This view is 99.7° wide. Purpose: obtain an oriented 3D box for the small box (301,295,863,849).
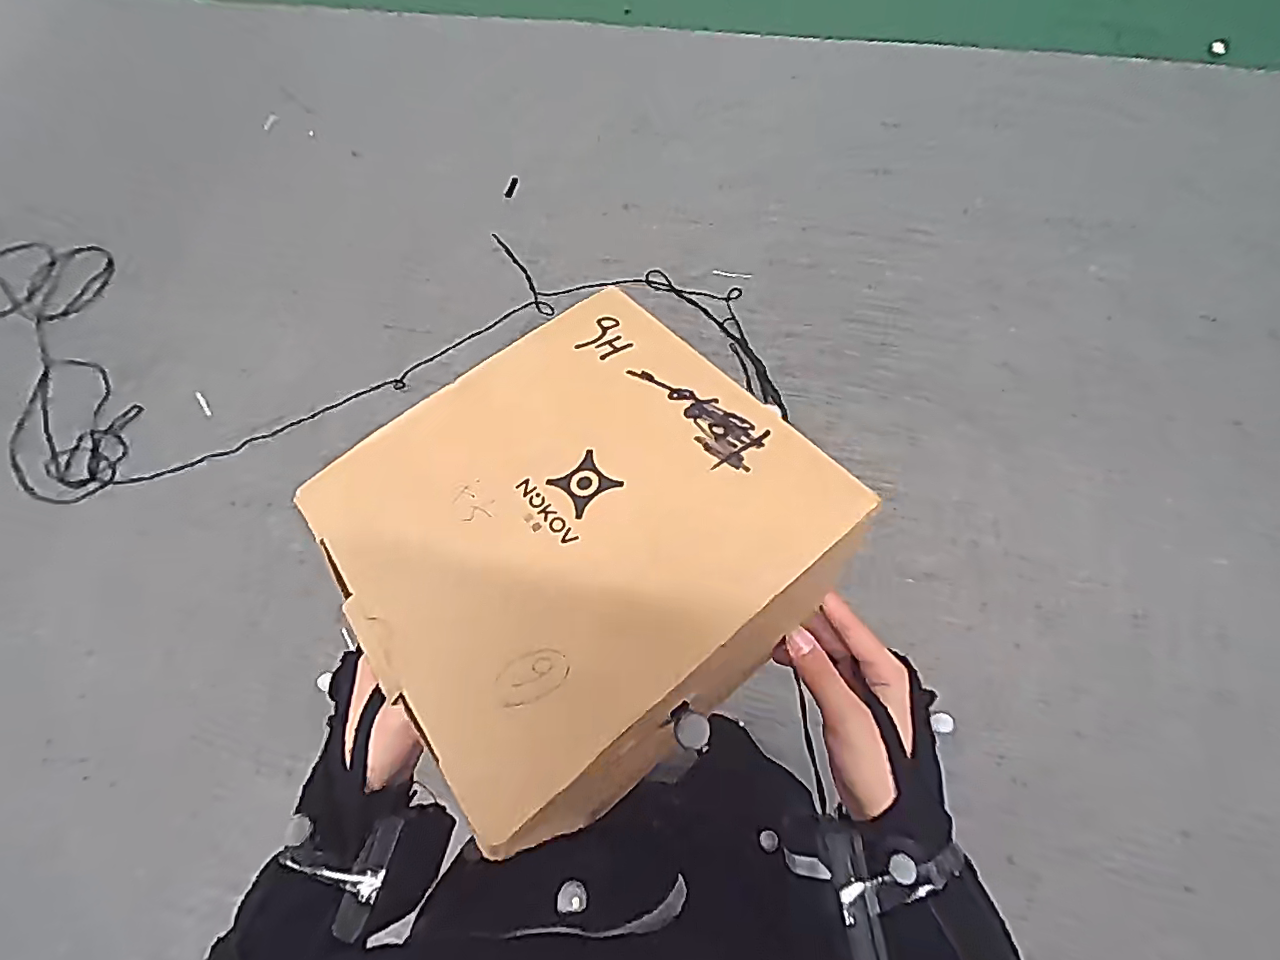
[{"bbox_3d":[-0.021,0.049,0.283,0.179,0.176,0.168,-38,63,-13],"label":"small box"}]
